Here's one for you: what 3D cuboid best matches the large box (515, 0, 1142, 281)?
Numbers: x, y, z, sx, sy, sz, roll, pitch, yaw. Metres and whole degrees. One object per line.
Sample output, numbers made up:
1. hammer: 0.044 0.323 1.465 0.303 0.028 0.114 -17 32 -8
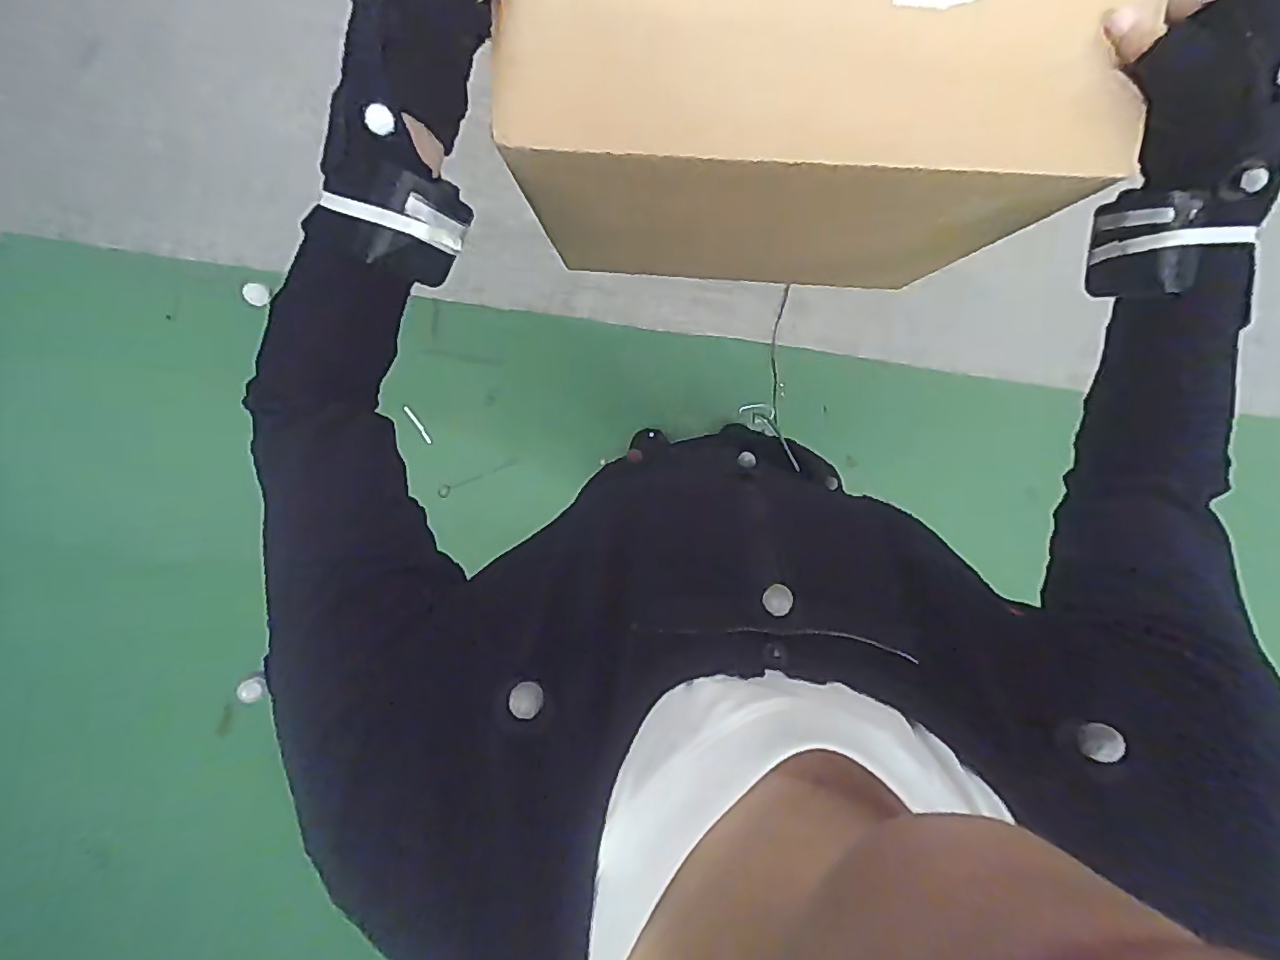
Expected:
1. large box: 0.119 -0.377 0.483 0.408 0.320 0.320 3 98 -1
